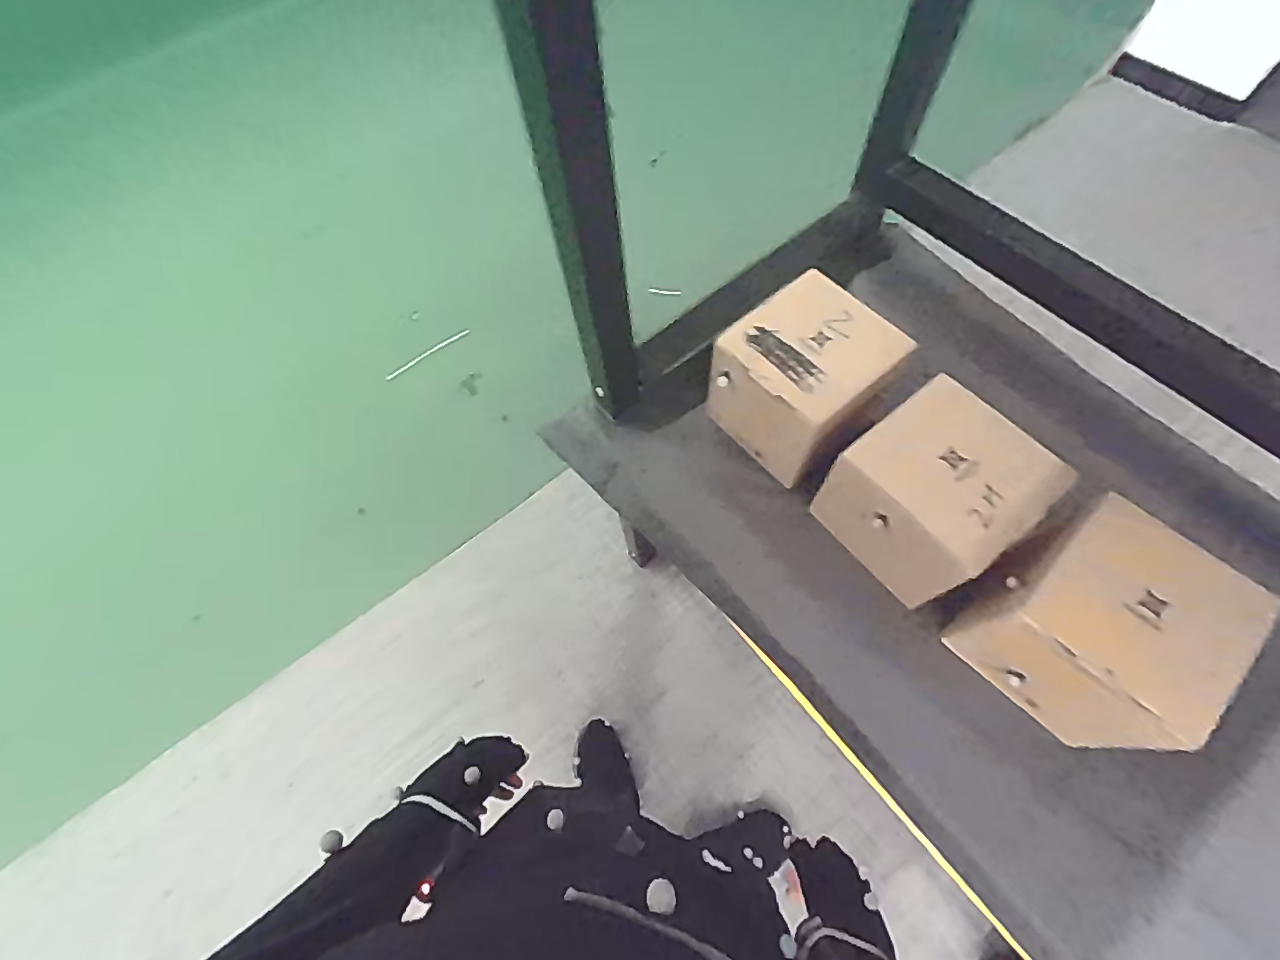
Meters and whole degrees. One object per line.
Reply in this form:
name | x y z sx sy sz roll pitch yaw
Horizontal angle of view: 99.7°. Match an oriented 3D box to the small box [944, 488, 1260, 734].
small box | 0.476 0.146 0.589 0.179 0.176 0.168 -43 70 -14
